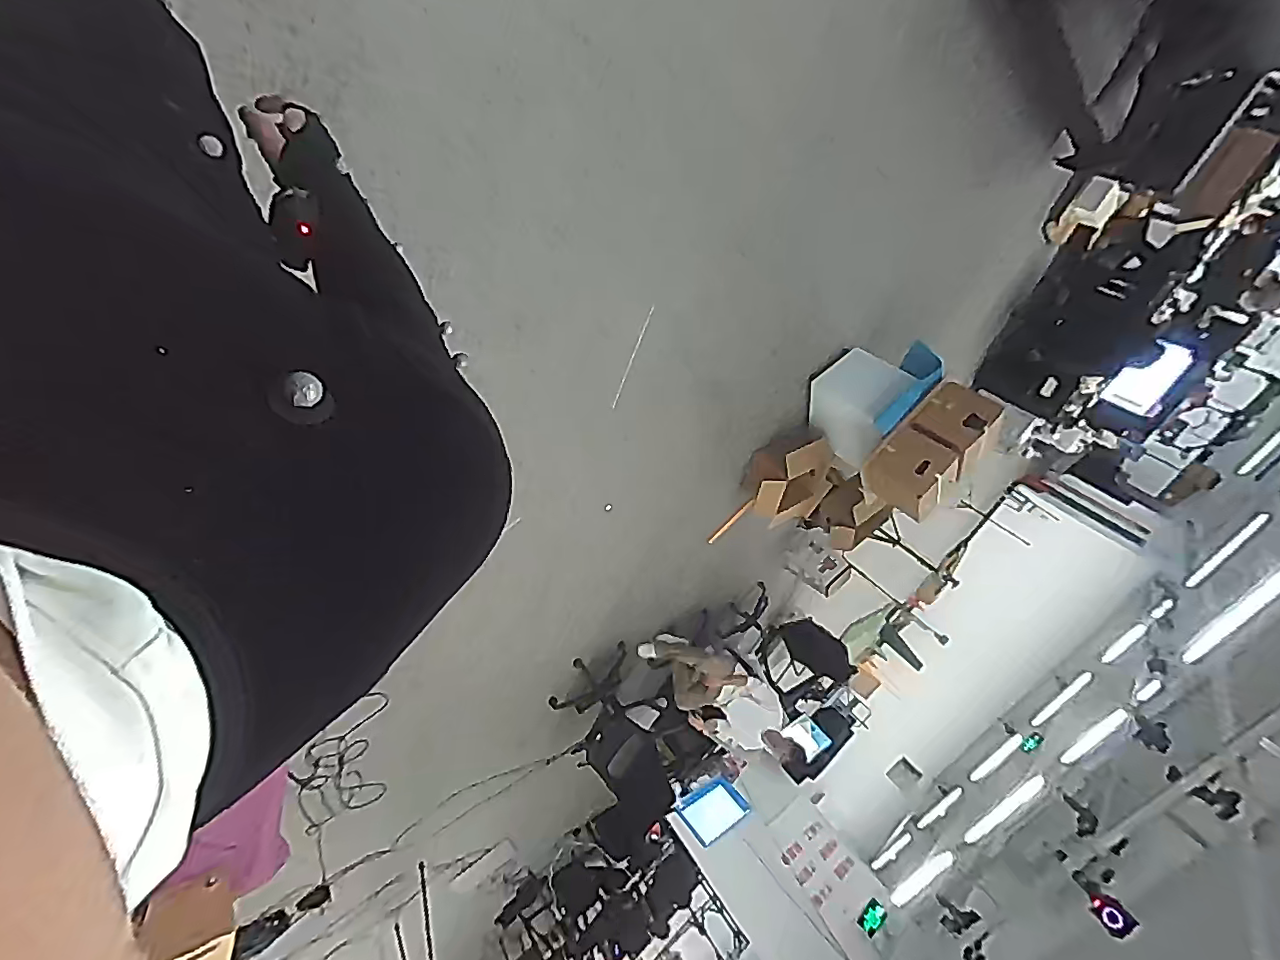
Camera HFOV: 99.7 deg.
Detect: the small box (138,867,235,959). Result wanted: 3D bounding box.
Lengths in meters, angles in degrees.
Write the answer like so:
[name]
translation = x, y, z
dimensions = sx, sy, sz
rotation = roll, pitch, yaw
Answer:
[small box]
translation = -1.121, 1.104, 1.332
dimensions = 0.168, 0.176, 0.179
rotation = 0, 125, -45
